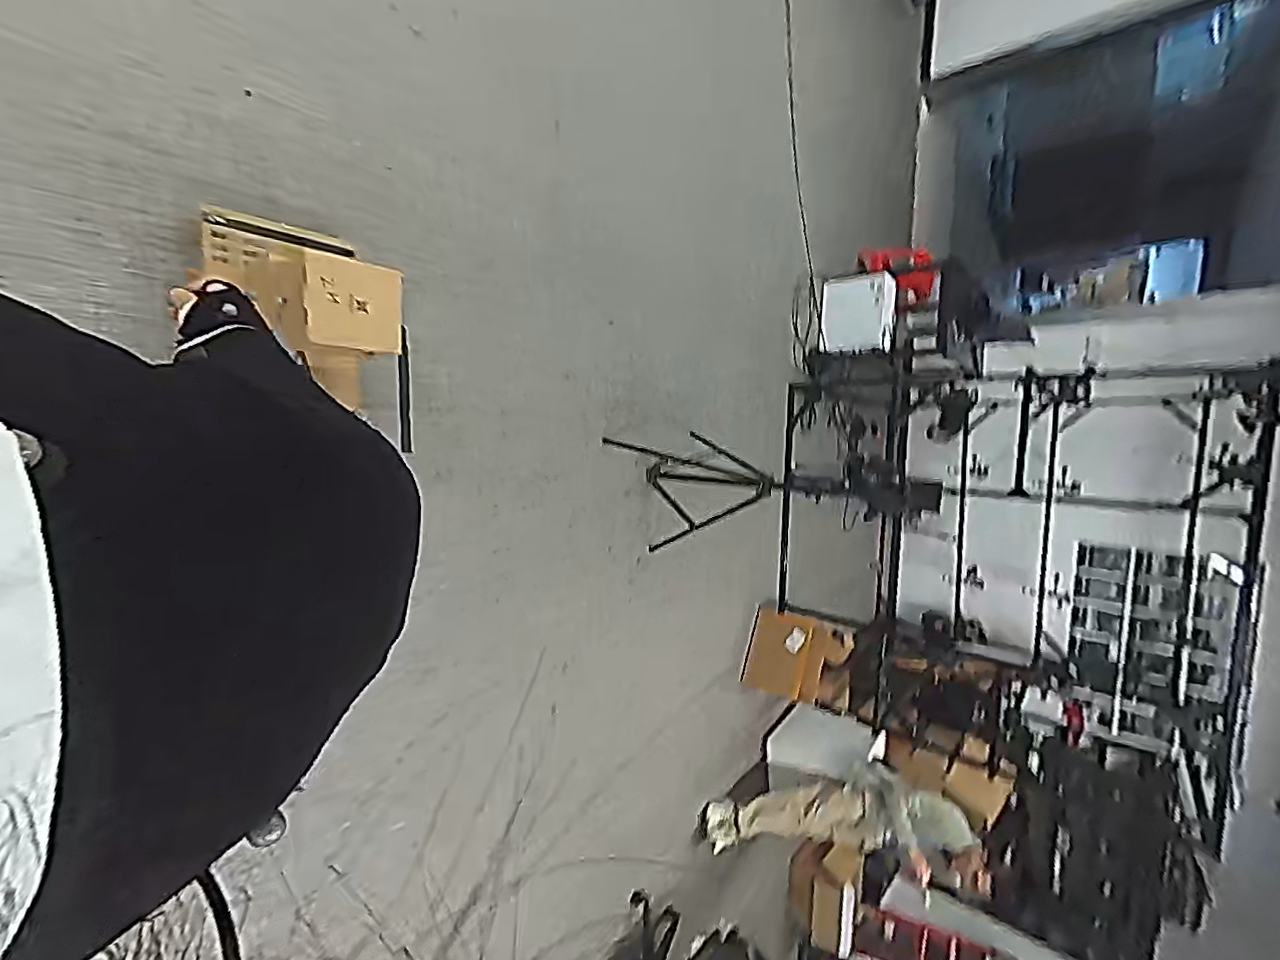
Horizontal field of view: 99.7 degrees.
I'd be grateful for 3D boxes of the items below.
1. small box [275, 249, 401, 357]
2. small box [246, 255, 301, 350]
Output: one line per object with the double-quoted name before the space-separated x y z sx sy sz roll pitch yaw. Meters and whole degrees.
"small box" -0.603 -0.342 1.082 0.179 0.176 0.168 -3 98 -49
"small box" -0.732 -0.376 1.181 0.179 0.176 0.168 -6 100 -48
